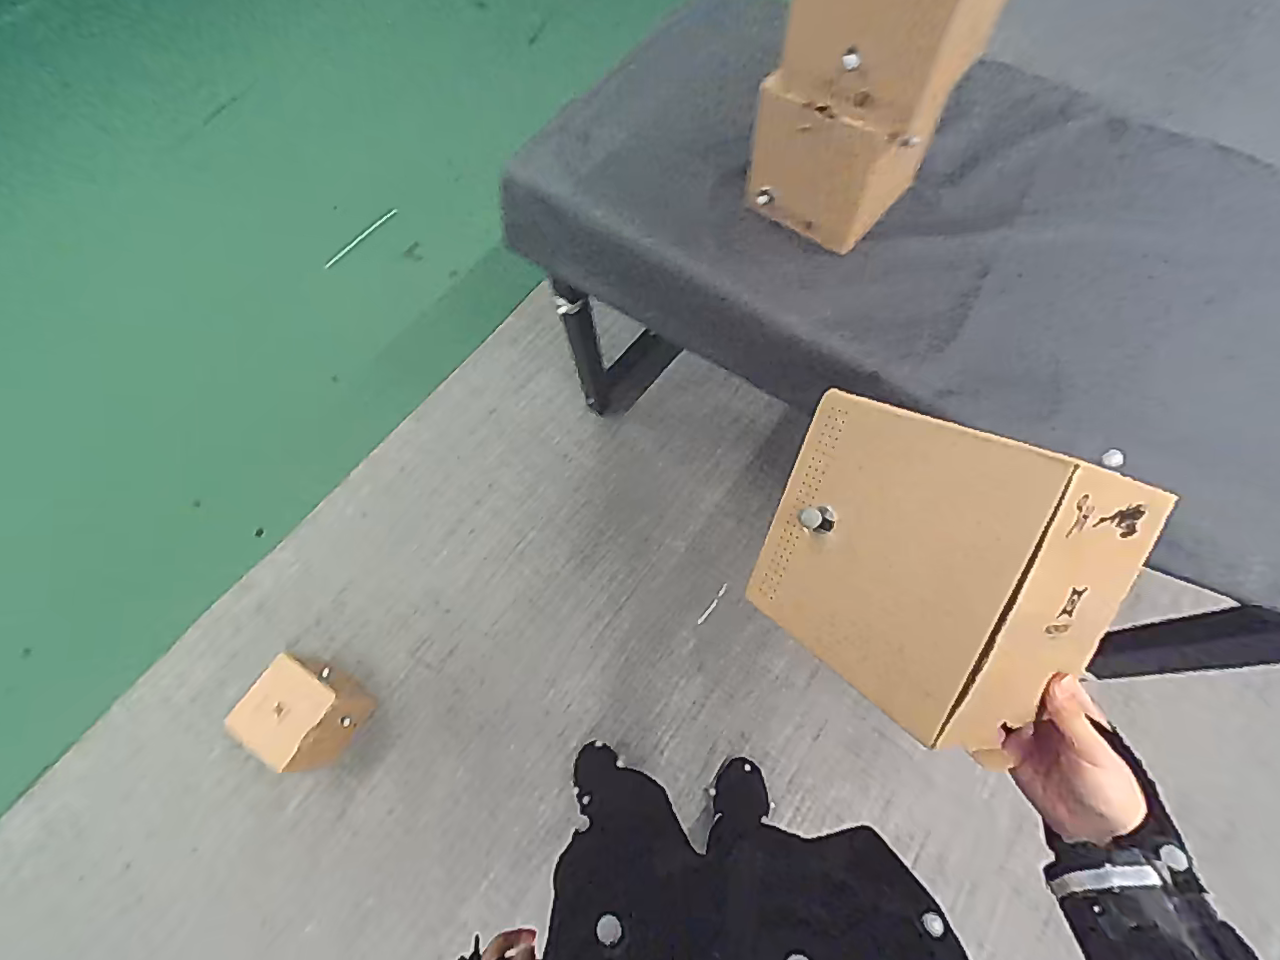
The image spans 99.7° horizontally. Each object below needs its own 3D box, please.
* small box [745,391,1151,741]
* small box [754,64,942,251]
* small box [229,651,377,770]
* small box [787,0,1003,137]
[{"bbox_3d":[0.203,0.050,0.394,0.176,0.168,0.179,36,113,53],"label":"small box"},{"bbox_3d":[0.266,-0.441,0.712,0.168,0.176,0.179,38,73,18],"label":"small box"},{"bbox_3d":[-0.716,0.496,1.172,0.179,0.176,0.168,28,70,16],"label":"small box"},{"bbox_3d":[0.273,-0.505,0.559,0.168,0.176,0.179,35,73,18],"label":"small box"}]
